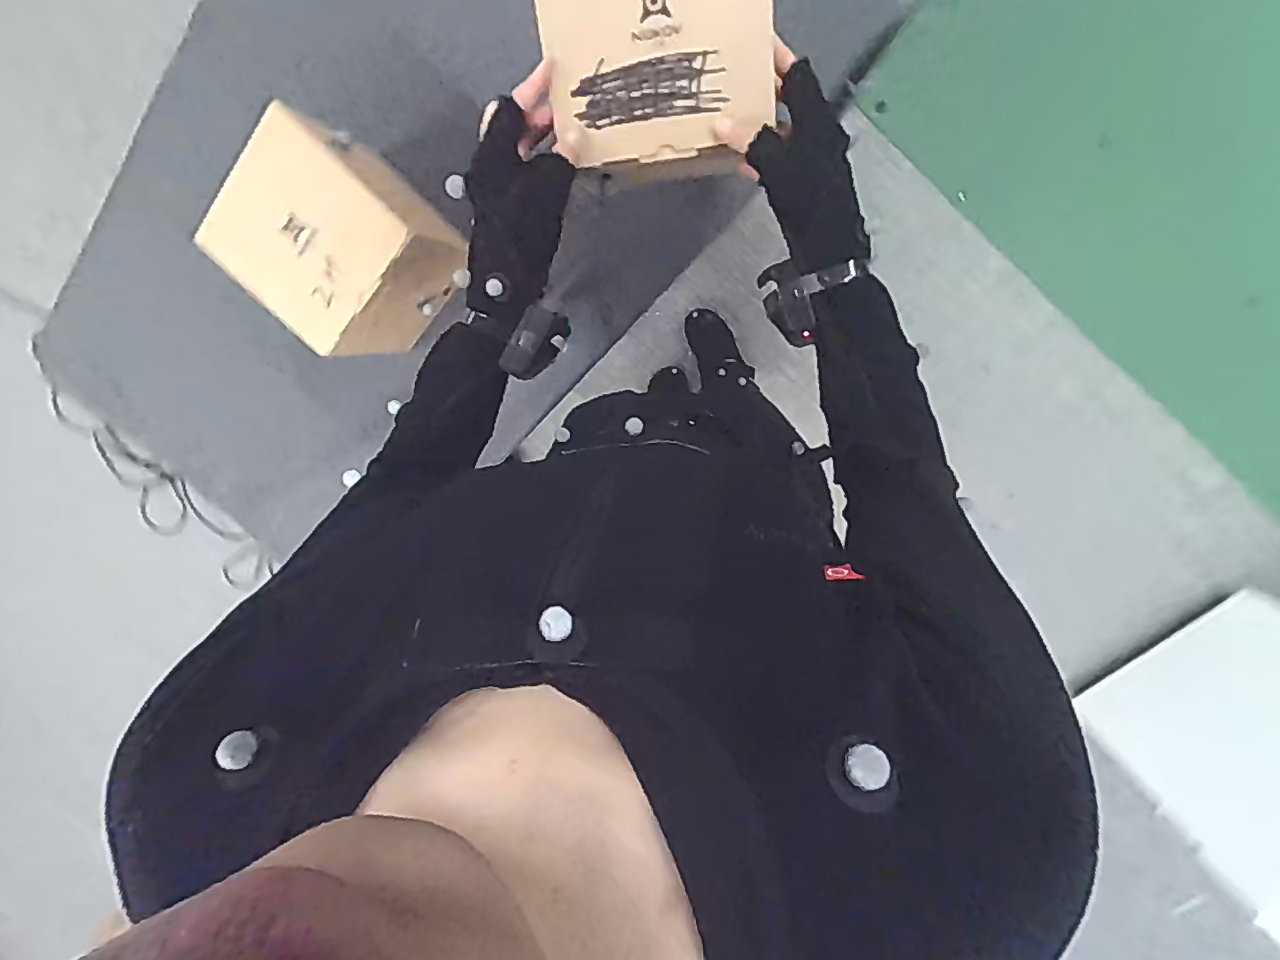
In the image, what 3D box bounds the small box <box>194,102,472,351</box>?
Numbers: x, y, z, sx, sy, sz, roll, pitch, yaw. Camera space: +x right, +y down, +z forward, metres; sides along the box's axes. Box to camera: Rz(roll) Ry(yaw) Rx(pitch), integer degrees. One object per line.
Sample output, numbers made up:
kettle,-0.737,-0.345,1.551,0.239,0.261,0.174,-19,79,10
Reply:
small box,-0.331,-0.266,0.615,0.179,0.176,0.168,43,106,-6
